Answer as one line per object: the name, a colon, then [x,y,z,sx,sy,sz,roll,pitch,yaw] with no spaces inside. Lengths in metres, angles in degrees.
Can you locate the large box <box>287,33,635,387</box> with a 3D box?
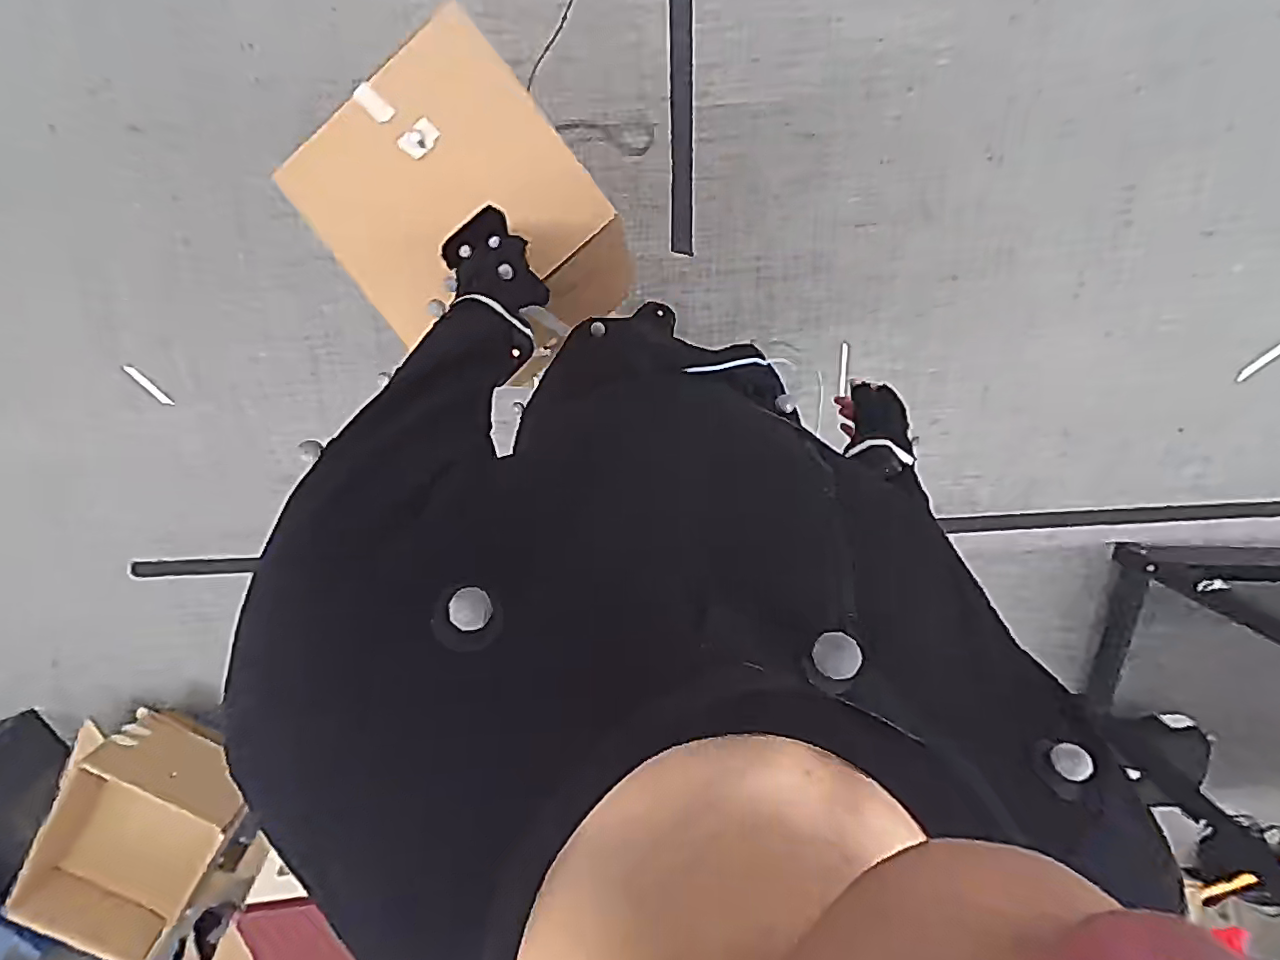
large box: [-0.234,-0.364,0.867,0.320,0.408,0.320,-38,95,8]
